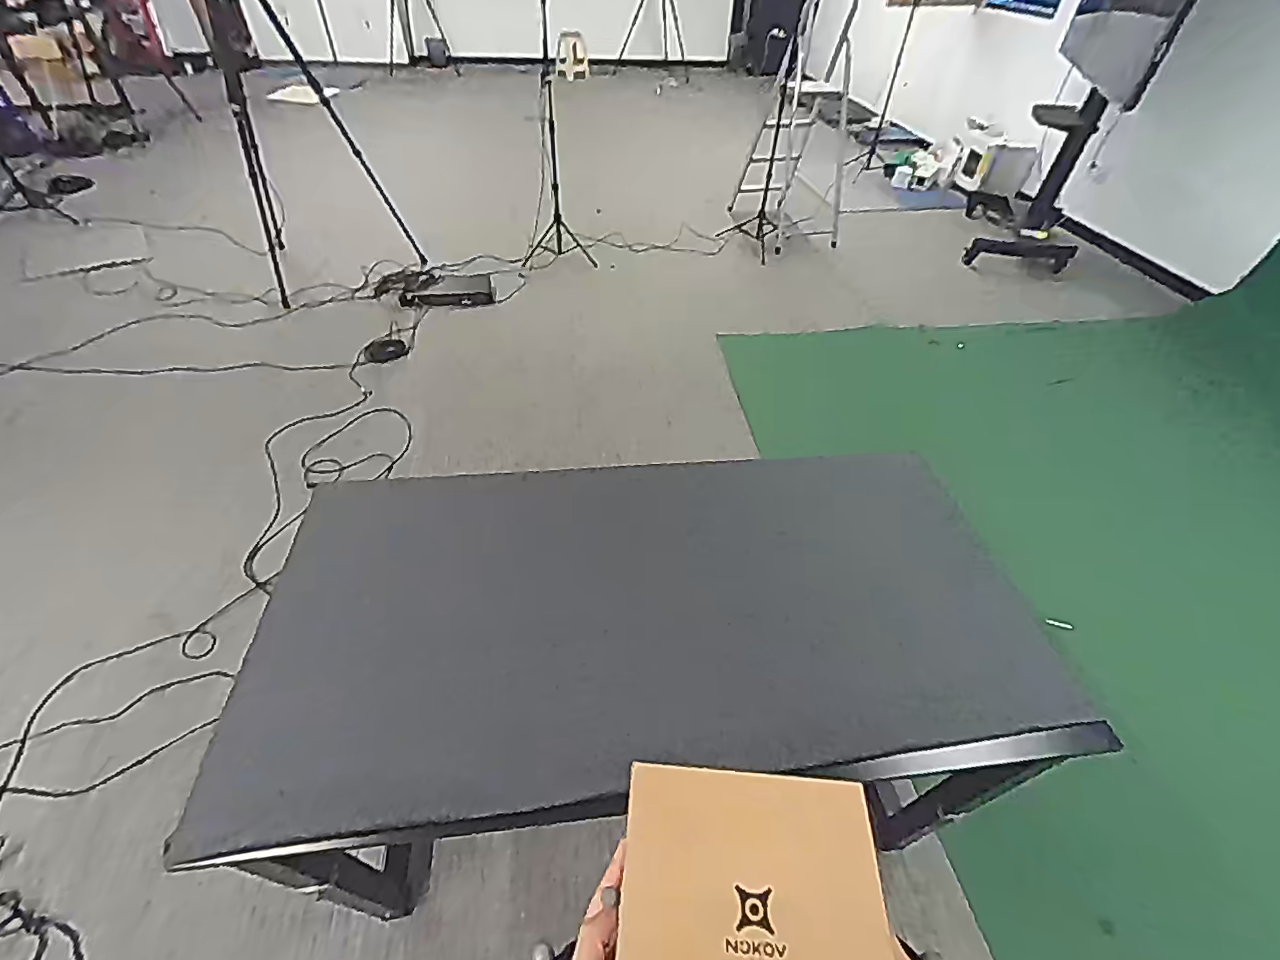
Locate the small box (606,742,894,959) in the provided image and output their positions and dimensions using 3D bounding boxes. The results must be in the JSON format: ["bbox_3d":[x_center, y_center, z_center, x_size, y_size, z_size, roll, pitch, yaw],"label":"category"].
[{"bbox_3d":[0.065,0.312,0.381,0.168,0.176,0.179,3,46,5],"label":"small box"}]
